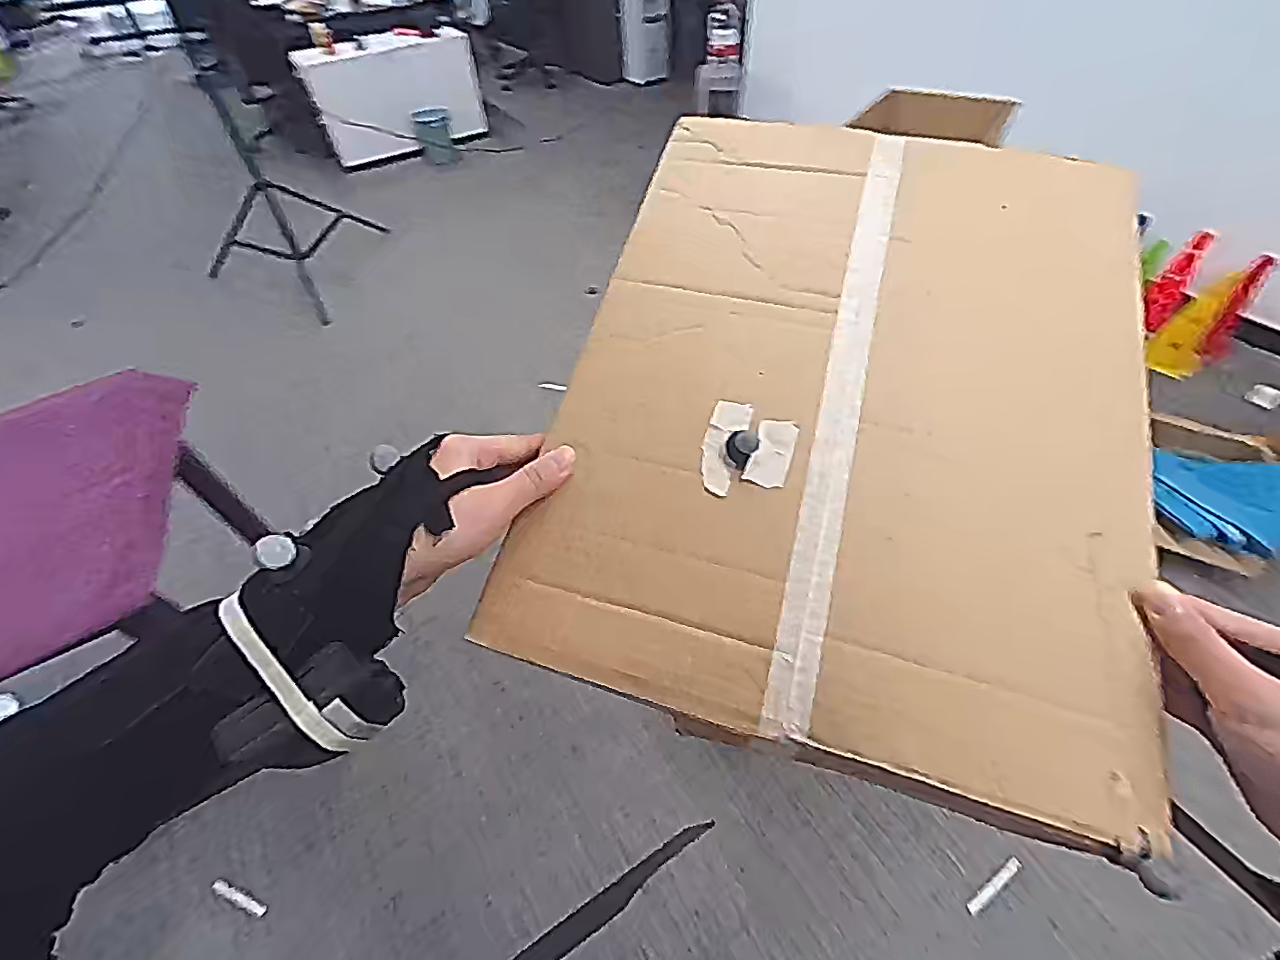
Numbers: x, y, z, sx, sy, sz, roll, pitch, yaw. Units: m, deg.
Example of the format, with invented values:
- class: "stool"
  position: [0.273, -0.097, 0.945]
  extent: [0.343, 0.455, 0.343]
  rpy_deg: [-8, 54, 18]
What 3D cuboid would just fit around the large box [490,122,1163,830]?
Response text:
- class: "large box"
  position: [0.129, -0.007, 0.454]
  extent: [0.320, 0.320, 0.408]
  rpy_deg: [13, 68, 11]
